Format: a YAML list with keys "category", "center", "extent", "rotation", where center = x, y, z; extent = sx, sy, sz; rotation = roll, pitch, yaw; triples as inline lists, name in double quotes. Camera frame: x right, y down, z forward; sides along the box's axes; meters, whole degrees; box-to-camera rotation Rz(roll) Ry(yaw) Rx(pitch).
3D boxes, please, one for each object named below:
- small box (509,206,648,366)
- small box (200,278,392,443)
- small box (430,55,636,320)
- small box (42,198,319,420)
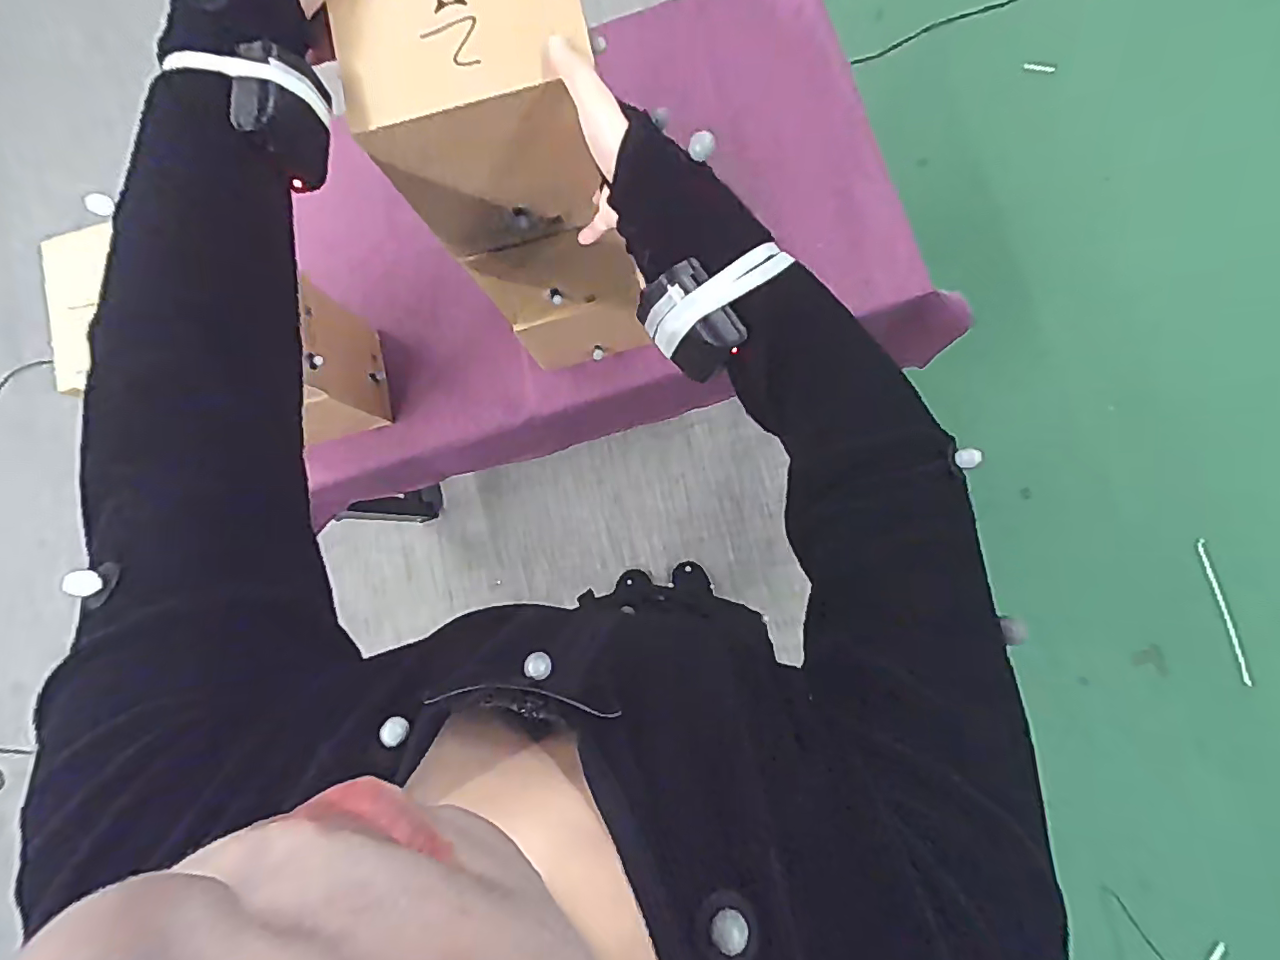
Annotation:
- category: "small box"
  center: [-0.089, -0.280, 0.762]
  extent: [0.179, 0.176, 0.168]
  rotation: [-15, 83, 2]
- category: "small box"
  center: [-0.492, -0.158, 0.780]
  extent: [0.179, 0.176, 0.168]
  rotation: [-13, 84, 2]
- category: "small box"
  center: [-0.105, -0.306, 0.601]
  extent: [0.168, 0.176, 0.179]
  rotation: [-14, 85, 3]
- category: "small box"
  center: [-0.499, -0.179, 0.617]
  extent: [0.179, 0.176, 0.168]
  rotation: [-14, 84, 3]
